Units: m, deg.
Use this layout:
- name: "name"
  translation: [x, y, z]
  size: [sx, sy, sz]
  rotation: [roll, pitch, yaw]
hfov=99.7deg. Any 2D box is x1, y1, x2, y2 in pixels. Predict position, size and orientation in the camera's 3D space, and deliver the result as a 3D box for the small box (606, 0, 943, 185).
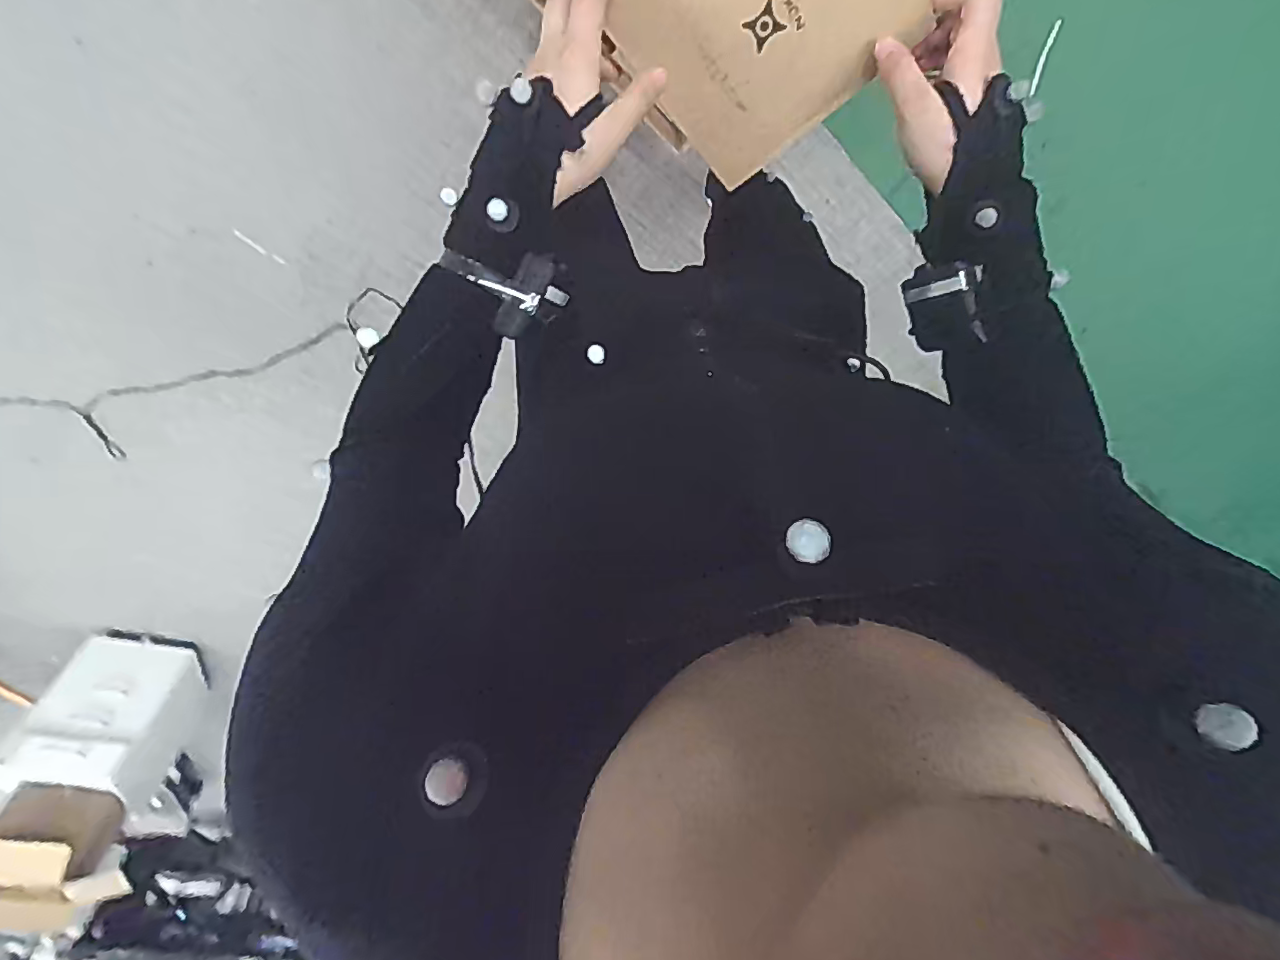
- name: "small box"
  translation: [0.087, -0.381, 0.404]
  size: [0.179, 0.176, 0.168]
  rotation: [-26, 141, 35]
